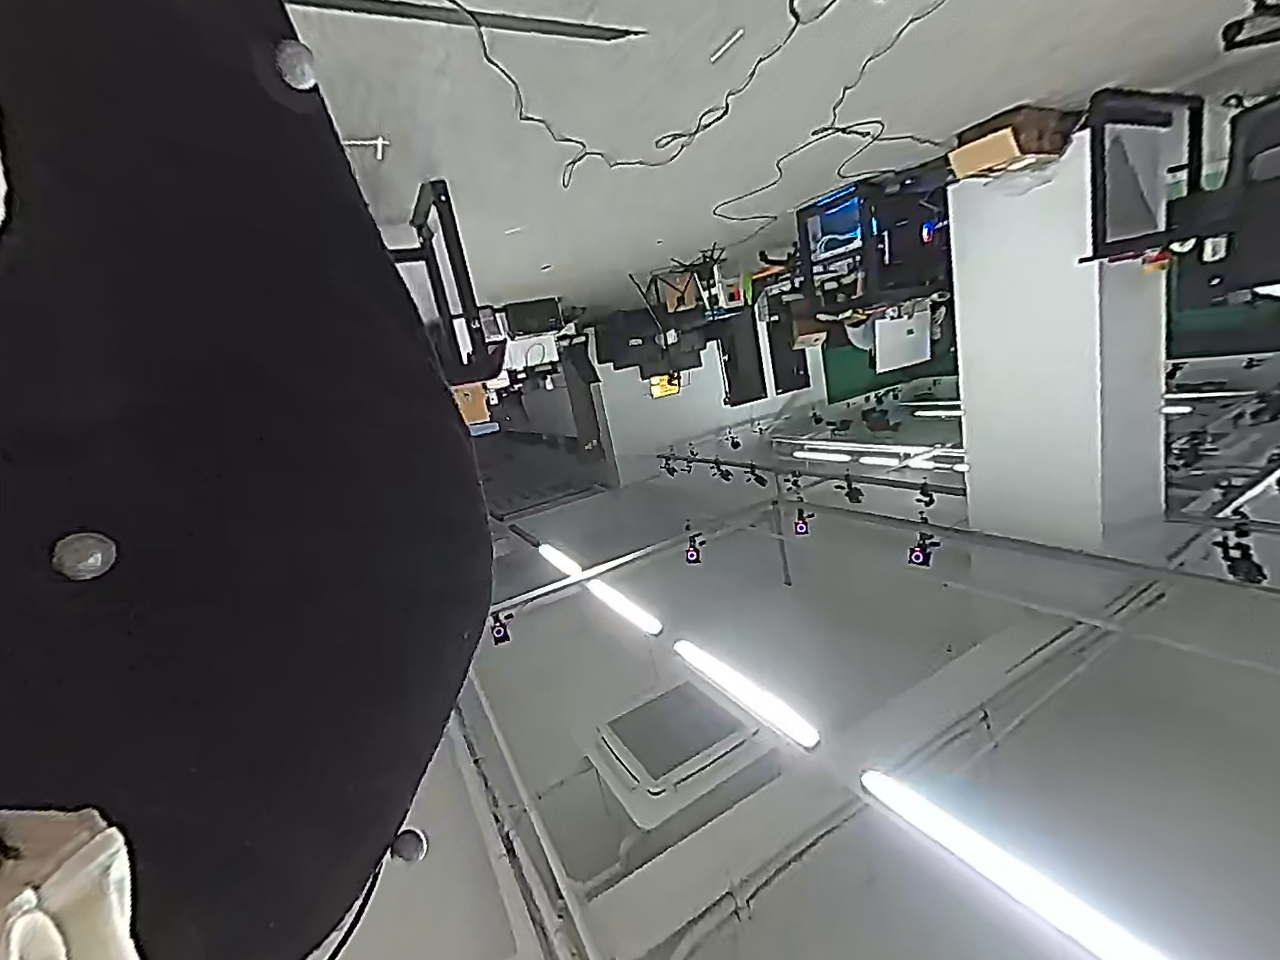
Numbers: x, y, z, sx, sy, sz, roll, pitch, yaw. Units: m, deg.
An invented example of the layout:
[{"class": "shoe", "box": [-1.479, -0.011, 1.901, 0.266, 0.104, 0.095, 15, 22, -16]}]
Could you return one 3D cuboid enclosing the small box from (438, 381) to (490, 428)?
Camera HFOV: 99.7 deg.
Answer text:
[{"class": "small box", "box": [-0.740, -0.320, 2.268, 0.168, 0.176, 0.179, -15, -168, -23]}]
